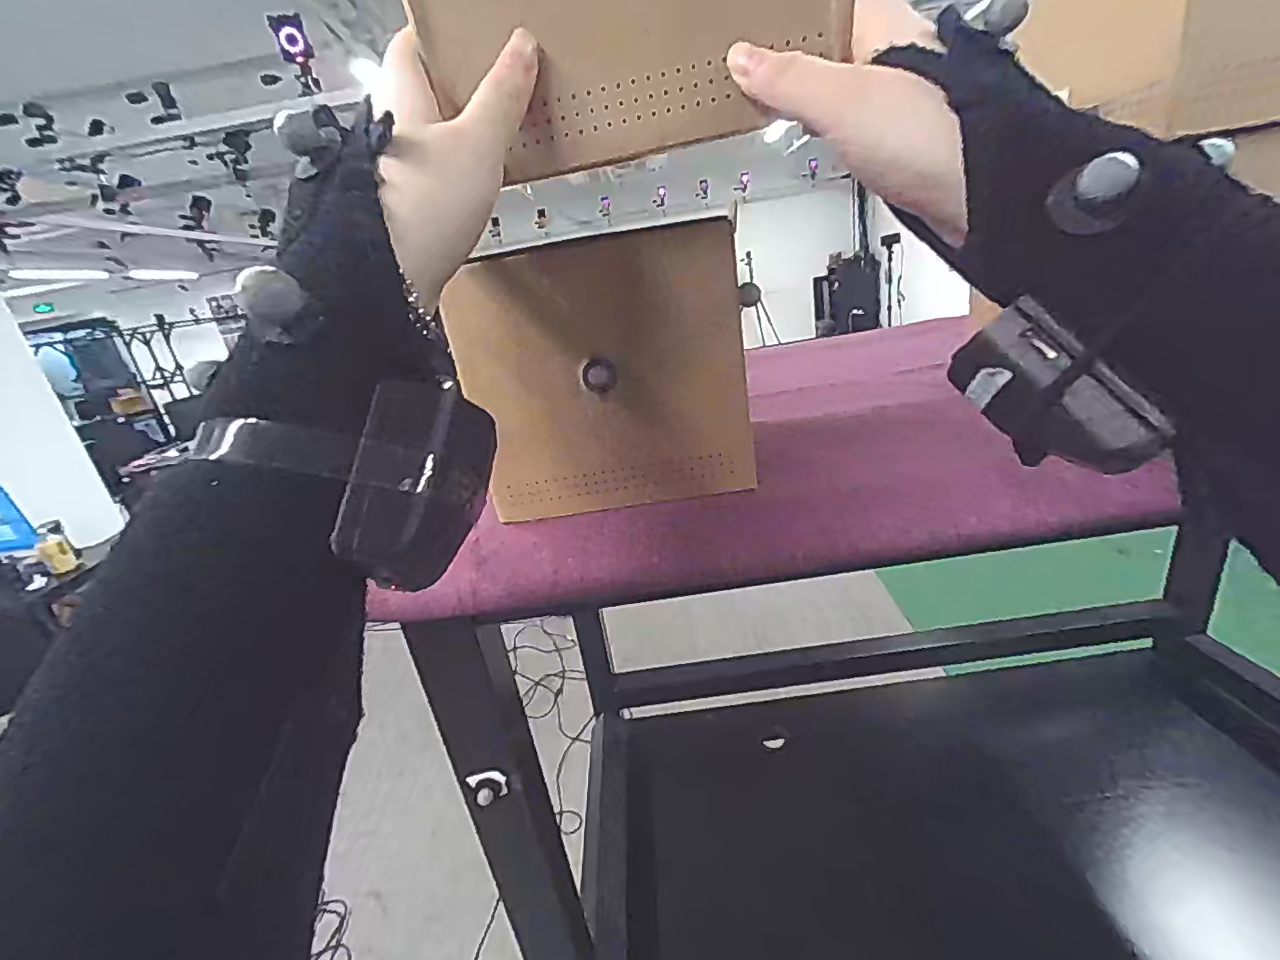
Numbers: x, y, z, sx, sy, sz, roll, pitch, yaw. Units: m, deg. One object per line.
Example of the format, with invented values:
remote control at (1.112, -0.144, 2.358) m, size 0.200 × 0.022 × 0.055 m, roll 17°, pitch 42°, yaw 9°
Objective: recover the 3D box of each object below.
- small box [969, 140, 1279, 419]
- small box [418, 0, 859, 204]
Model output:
small box at (0.382, -0.148, 0.413) m, size 0.168 × 0.176 × 0.179 m, roll -7°, pitch 21°, yaw 4°
small box at (-0.006, -0.245, 0.261) m, size 0.179 × 0.176 × 0.168 m, roll -10°, pitch 31°, yaw 5°
